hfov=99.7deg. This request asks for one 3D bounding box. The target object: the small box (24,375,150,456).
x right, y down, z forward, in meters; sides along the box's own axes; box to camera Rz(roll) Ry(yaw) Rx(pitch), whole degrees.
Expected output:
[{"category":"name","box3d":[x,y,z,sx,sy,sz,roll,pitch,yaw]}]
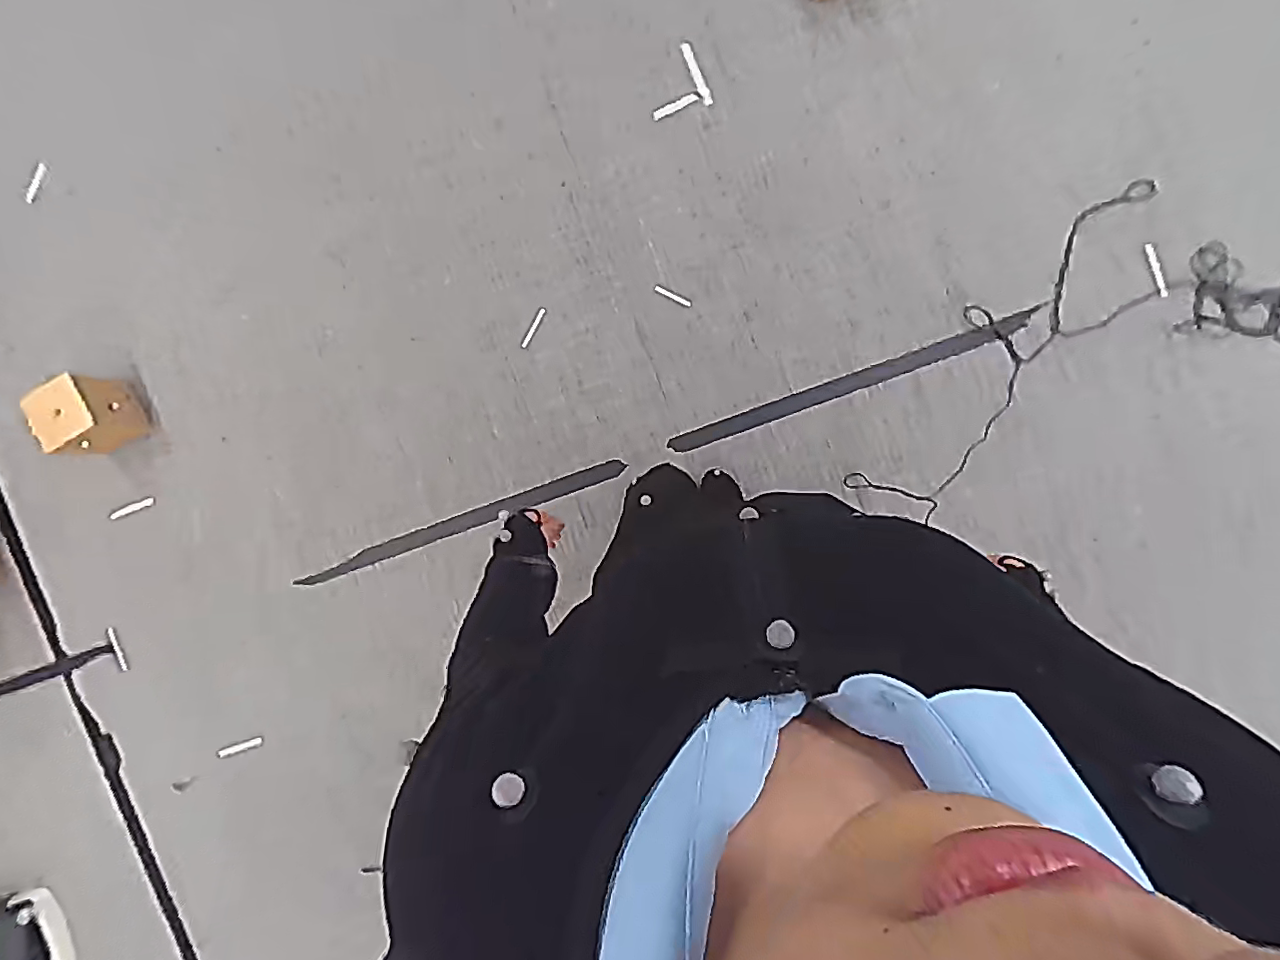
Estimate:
[{"category":"small box","box3d":[-1.576,-0.183,1.559,0.179,0.176,0.168,-28,90,6]}]
